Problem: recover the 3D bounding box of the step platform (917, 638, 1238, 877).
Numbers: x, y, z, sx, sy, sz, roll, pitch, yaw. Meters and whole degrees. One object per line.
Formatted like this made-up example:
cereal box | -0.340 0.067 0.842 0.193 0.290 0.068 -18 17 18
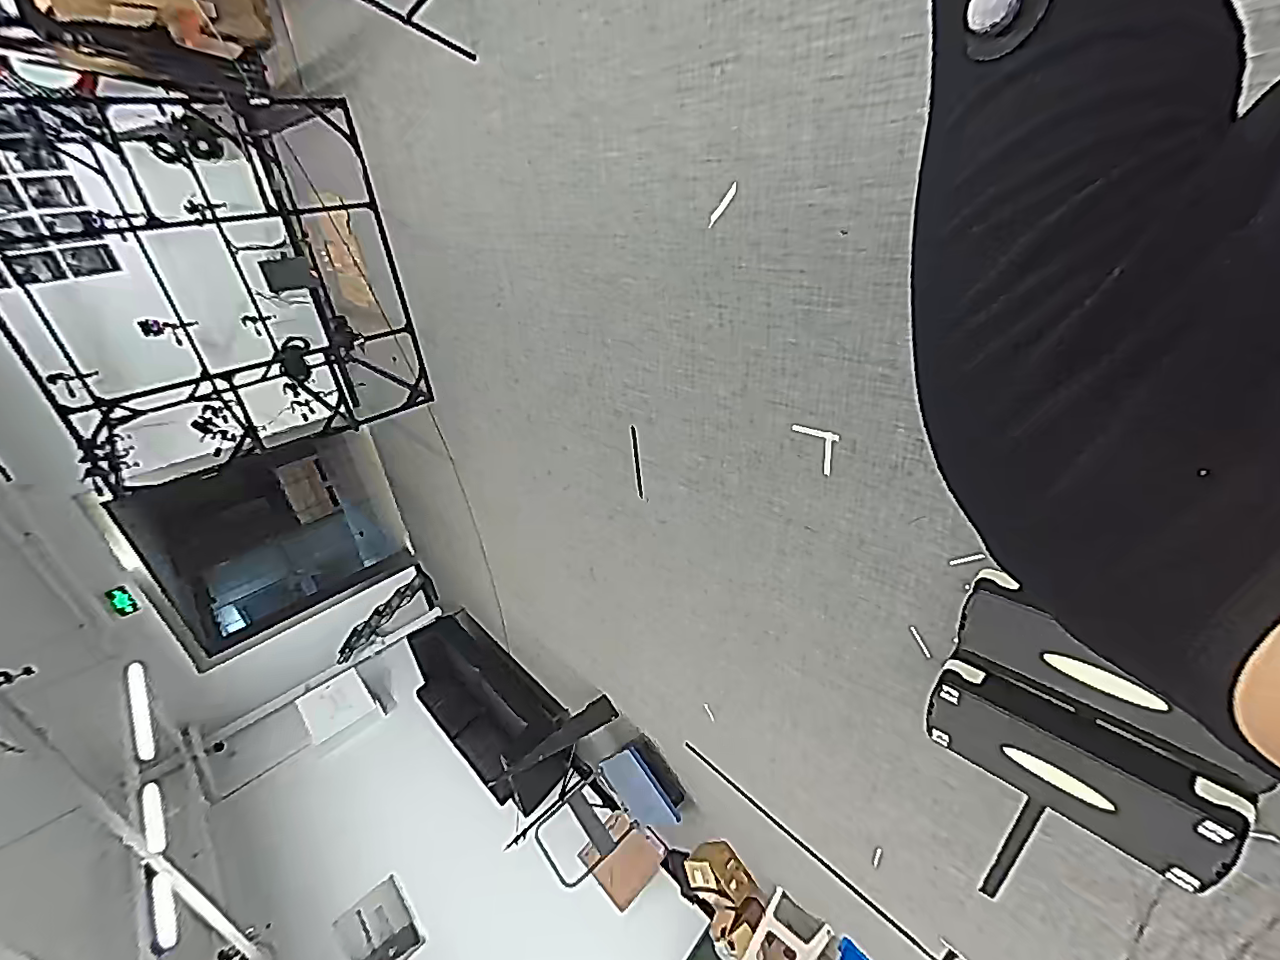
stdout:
step platform | 1.162 0.743 1.524 0.684 0.204 0.286 24 131 44
